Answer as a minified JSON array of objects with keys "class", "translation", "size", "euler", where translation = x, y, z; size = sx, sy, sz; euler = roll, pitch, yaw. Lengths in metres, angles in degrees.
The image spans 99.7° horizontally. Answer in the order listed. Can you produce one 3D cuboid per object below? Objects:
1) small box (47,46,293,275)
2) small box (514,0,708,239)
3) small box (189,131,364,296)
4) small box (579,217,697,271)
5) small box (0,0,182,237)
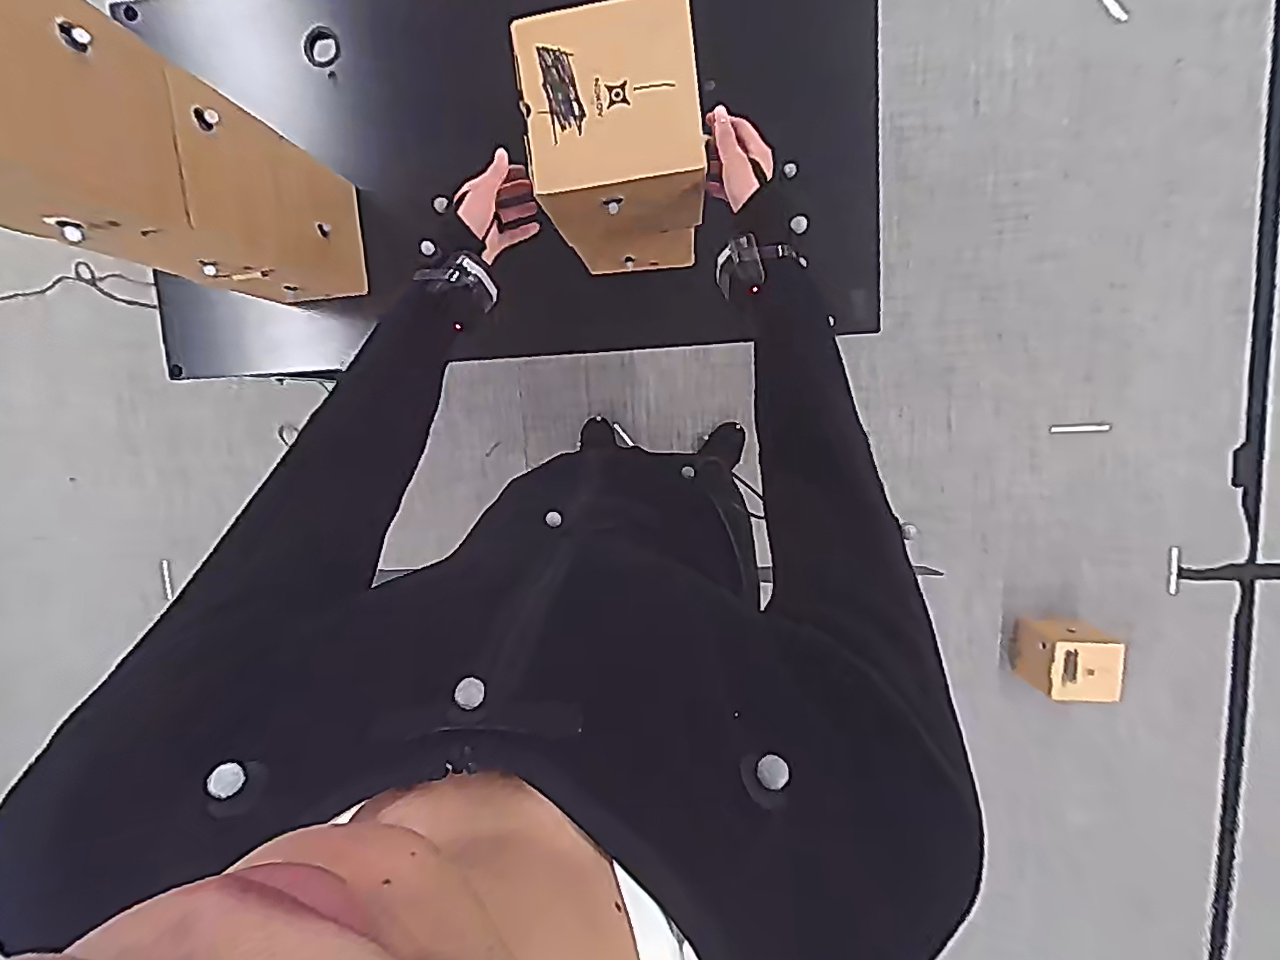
[{"class":"small box","translation":[-0.555,-0.361,0.644],"size":[0.168,0.176,0.179],"euler":[-3,97,6]},{"class":"small box","translation":[-0.021,-0.383,0.598],"size":[0.179,0.176,0.168],"euler":[-6,97,5]},{"class":"small box","translation":[-0.541,-0.380,0.807],"size":[0.168,0.176,0.179],"euler":[-4,97,5]},{"class":"small box","translation":[-0.007,-0.410,0.759],"size":[0.168,0.176,0.179],"euler":[-3,97,5]},{"class":"small box","translation":[-0.567,-0.340,0.483],"size":[0.168,0.176,0.179],"euler":[-4,97,6]}]
